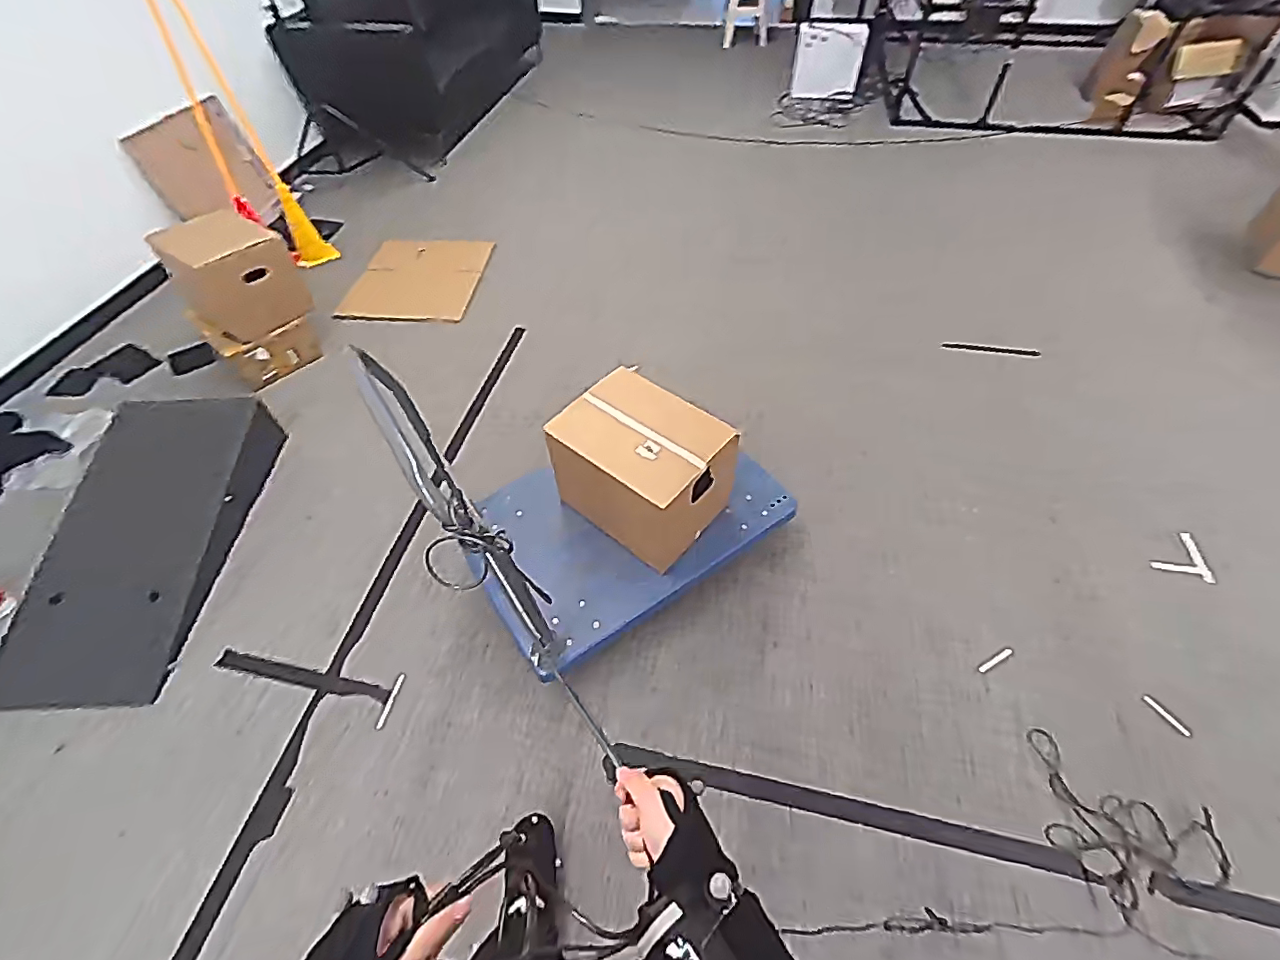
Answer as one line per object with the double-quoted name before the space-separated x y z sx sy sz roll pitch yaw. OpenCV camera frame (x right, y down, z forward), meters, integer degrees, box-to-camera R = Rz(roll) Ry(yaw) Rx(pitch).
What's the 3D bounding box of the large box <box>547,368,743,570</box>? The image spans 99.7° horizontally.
"large box" 0.010 -0.033 1.476 0.408 0.320 0.320 34 61 24
